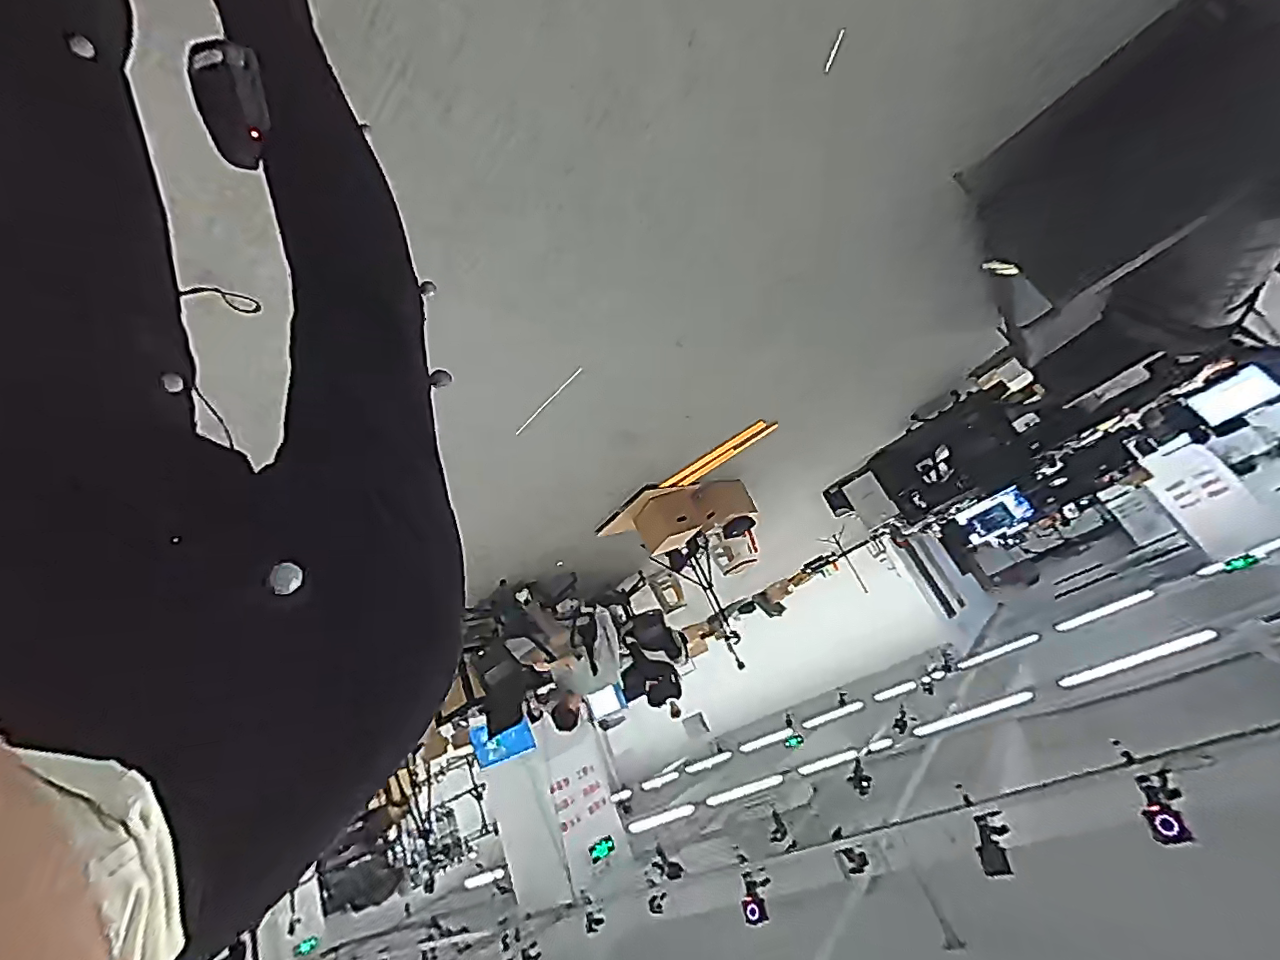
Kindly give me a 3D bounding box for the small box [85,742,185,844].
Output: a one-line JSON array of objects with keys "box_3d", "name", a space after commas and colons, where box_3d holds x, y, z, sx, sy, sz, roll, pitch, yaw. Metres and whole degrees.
[{"box_3d": [-1.324, 0.808, 1.414, 0.179, 0.176, 0.168, -38, 154, 30], "name": "small box"}]
